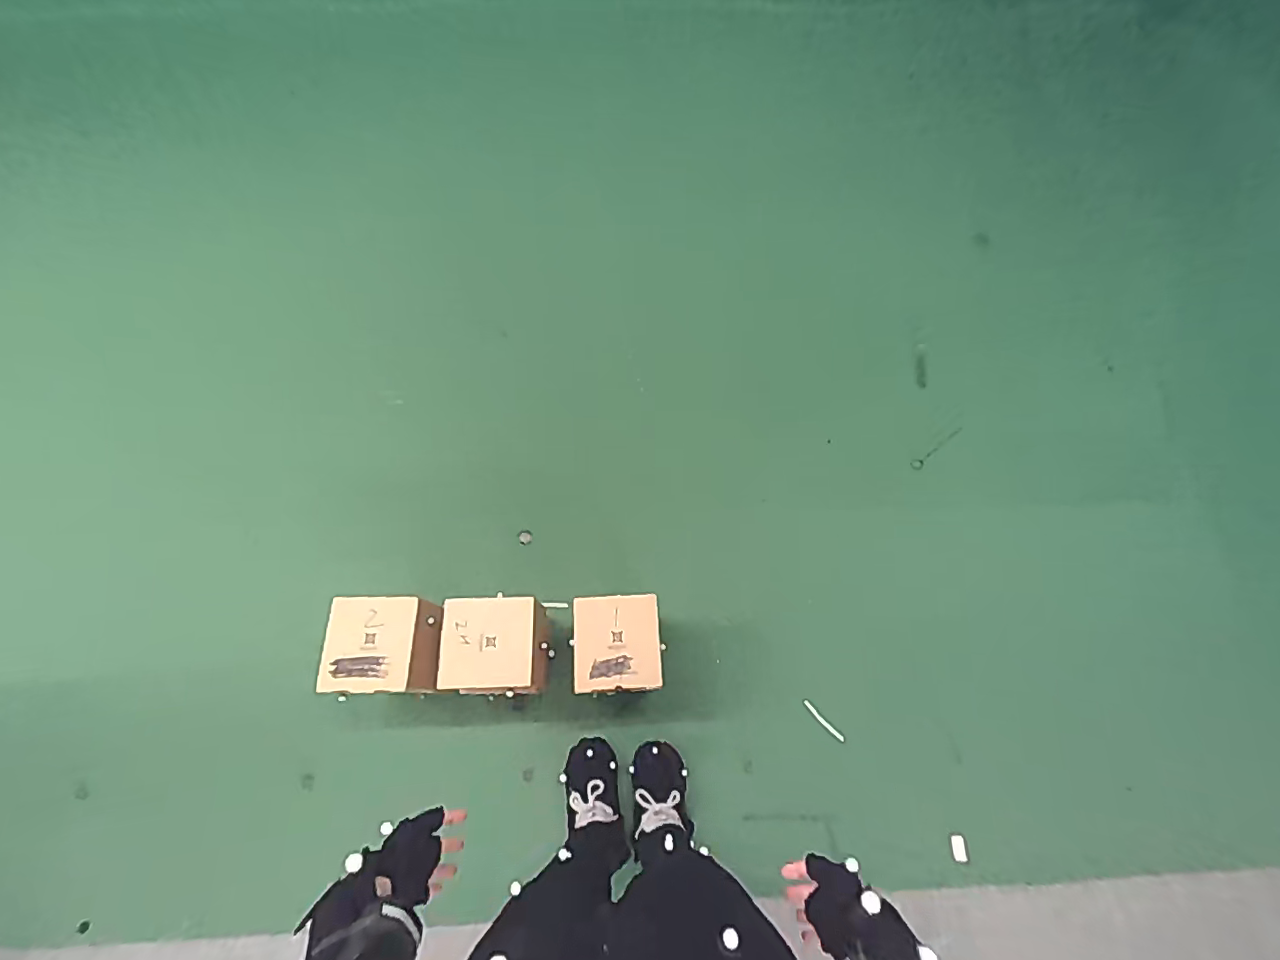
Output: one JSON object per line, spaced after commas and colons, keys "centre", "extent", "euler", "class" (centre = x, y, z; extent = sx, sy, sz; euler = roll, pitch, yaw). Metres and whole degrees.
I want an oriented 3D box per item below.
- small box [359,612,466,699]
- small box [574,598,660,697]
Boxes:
{"centre": [-0.515, 0.408, 1.254], "extent": [0.168, 0.176, 0.179], "euler": [2, 69, 0], "class": "small box"}
{"centre": [-0.046, 0.345, 1.110], "extent": [0.168, 0.176, 0.179], "euler": [-2, 69, -2], "class": "small box"}
